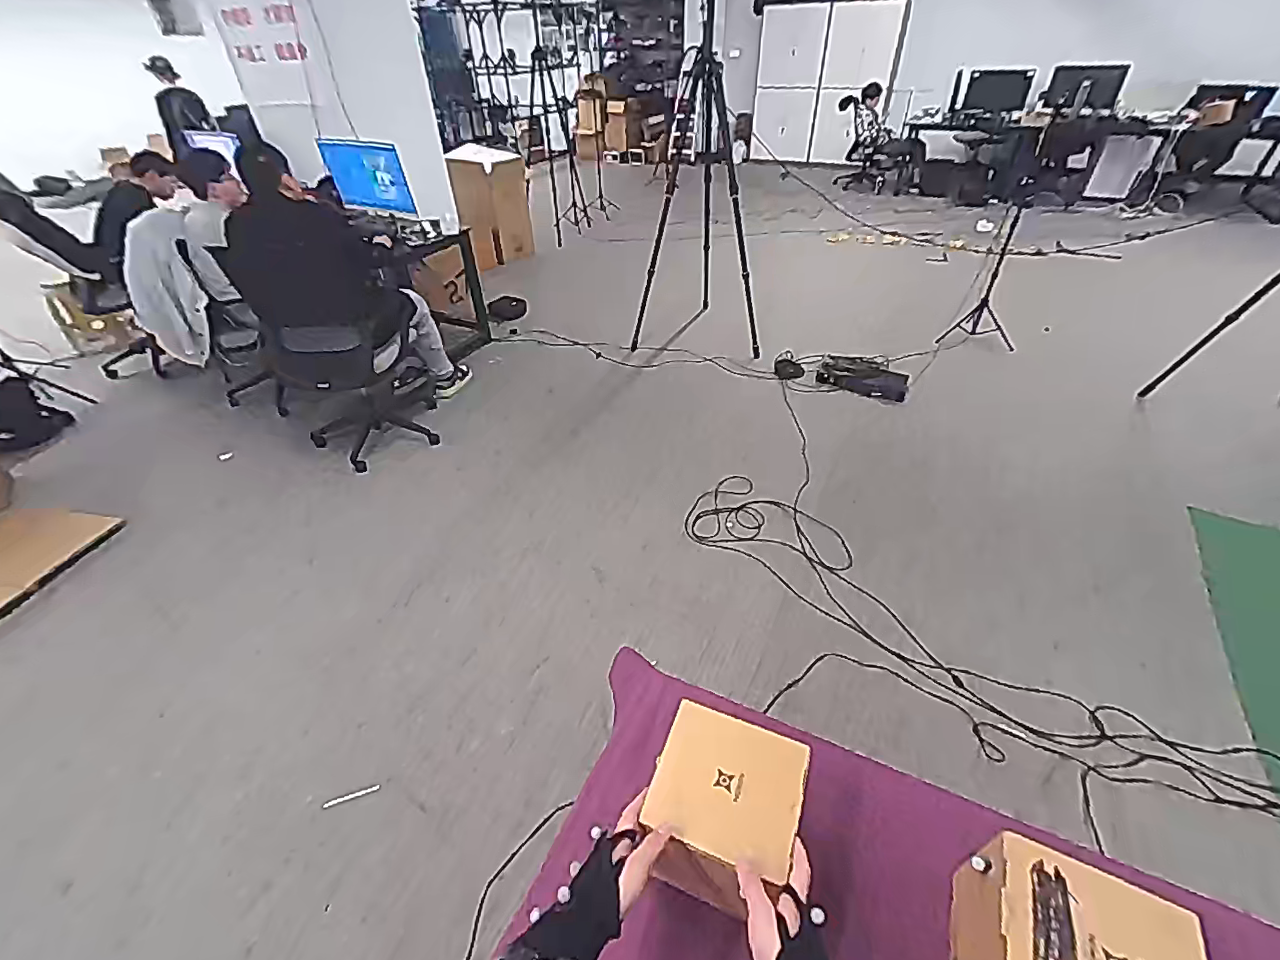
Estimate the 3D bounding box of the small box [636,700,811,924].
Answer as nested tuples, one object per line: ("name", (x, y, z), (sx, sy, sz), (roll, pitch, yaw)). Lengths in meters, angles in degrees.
("small box", (0.105, 0.426, 0.699), (0.179, 0.176, 0.168), (15, 40, 18))
